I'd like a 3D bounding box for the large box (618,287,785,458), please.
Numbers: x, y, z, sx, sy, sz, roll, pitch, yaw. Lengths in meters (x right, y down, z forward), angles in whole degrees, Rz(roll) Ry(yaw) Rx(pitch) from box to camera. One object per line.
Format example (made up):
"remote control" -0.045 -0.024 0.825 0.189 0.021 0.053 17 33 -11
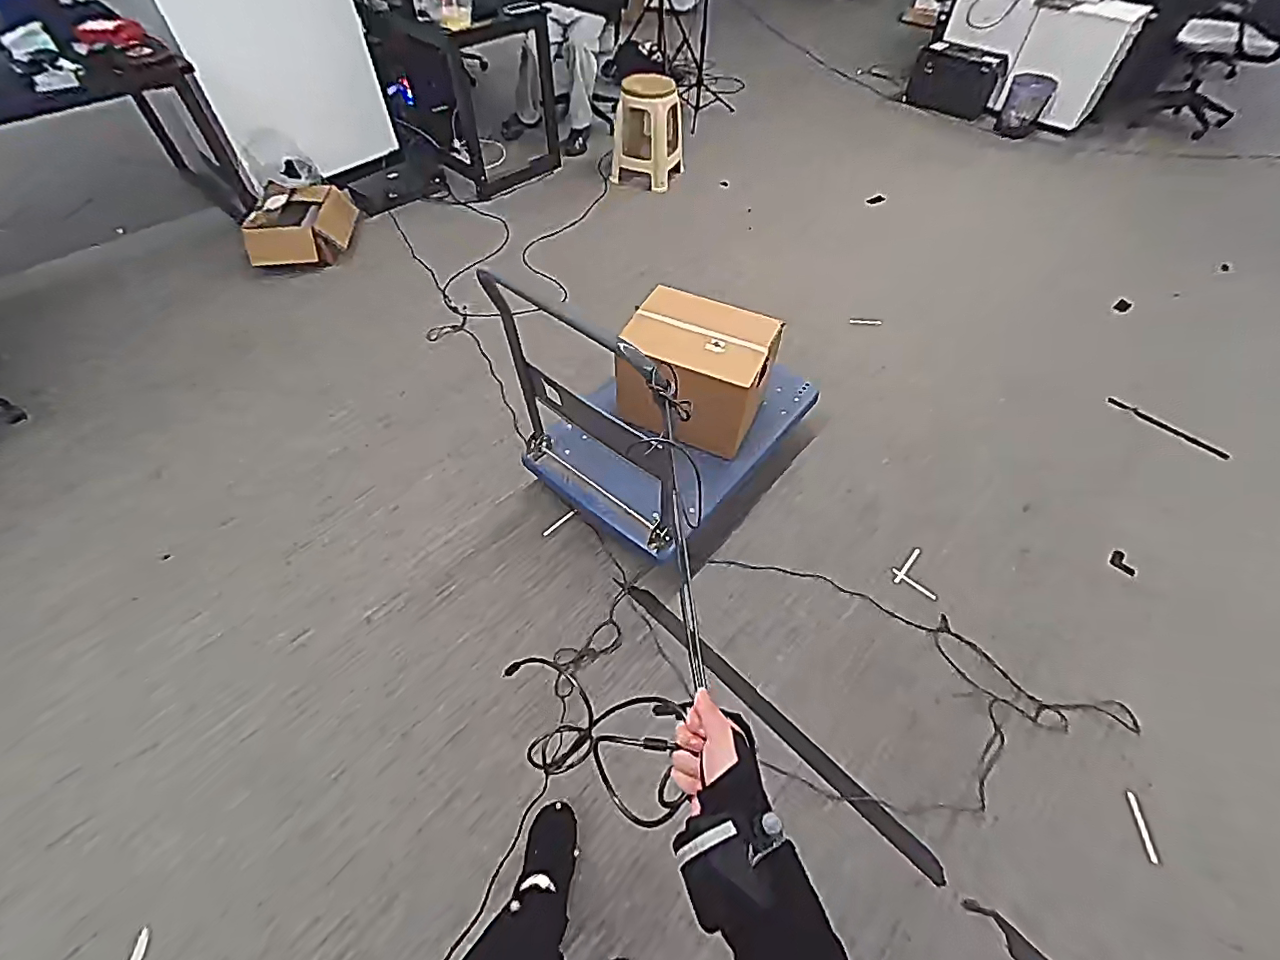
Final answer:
"large box" 0.173 -0.328 1.650 0.408 0.320 0.320 22 57 14
